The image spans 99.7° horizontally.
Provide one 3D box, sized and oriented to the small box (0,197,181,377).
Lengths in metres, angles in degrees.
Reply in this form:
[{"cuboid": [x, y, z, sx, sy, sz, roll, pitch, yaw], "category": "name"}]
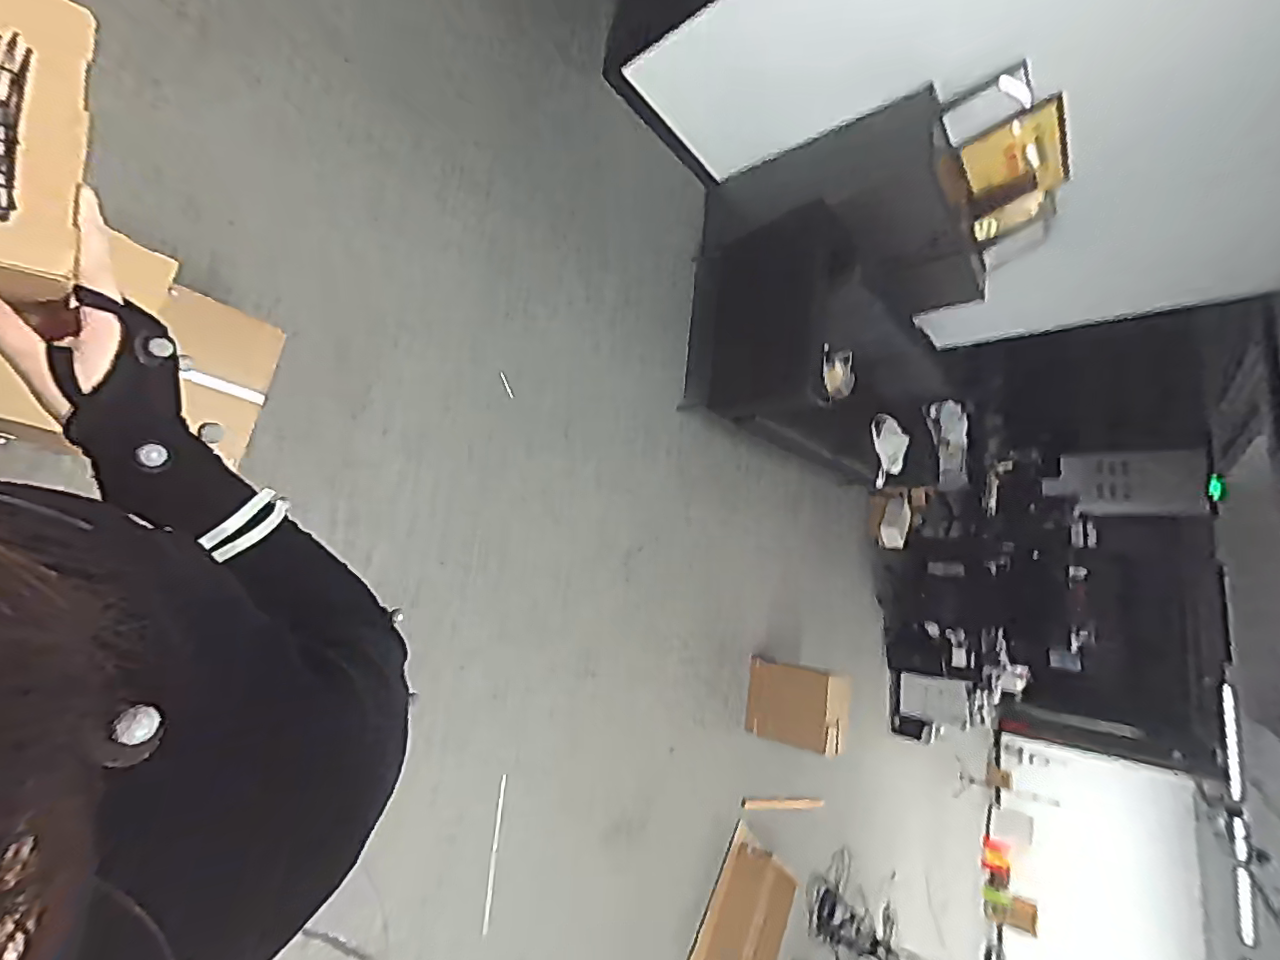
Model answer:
[{"cuboid": [-0.845, -0.276, 0.822, 0.168, 0.176, 0.179, 25, 67, -47], "category": "small box"}]
